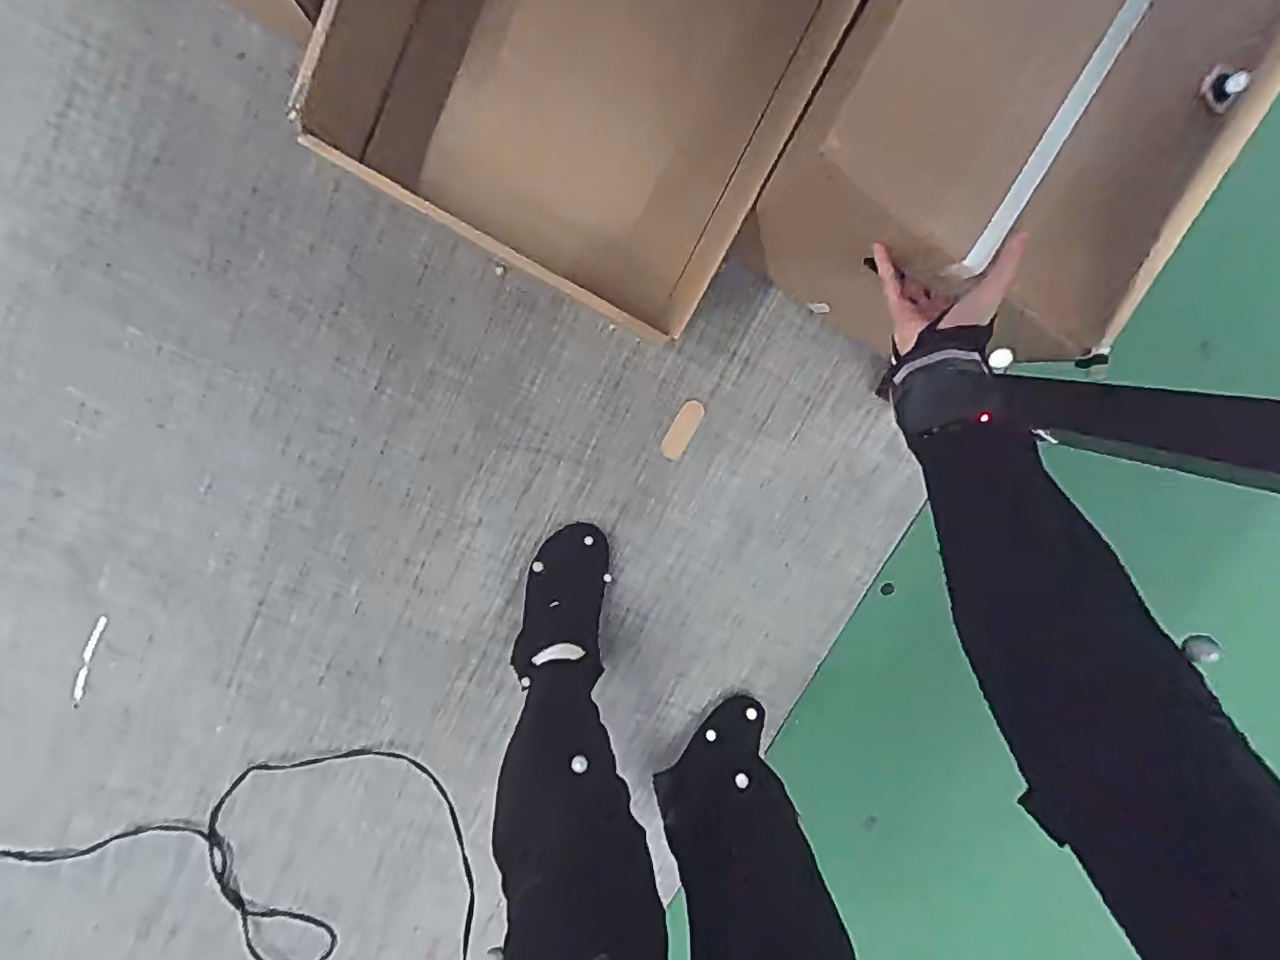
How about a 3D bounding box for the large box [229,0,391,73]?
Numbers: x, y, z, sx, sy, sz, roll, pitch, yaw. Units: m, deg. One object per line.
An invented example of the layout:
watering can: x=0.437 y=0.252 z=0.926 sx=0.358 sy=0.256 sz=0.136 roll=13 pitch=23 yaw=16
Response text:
large box: x=-0.334 y=-0.646 z=0.398 sx=0.320 sy=0.320 sz=0.408 roll=25 pitch=101 yaw=-14
